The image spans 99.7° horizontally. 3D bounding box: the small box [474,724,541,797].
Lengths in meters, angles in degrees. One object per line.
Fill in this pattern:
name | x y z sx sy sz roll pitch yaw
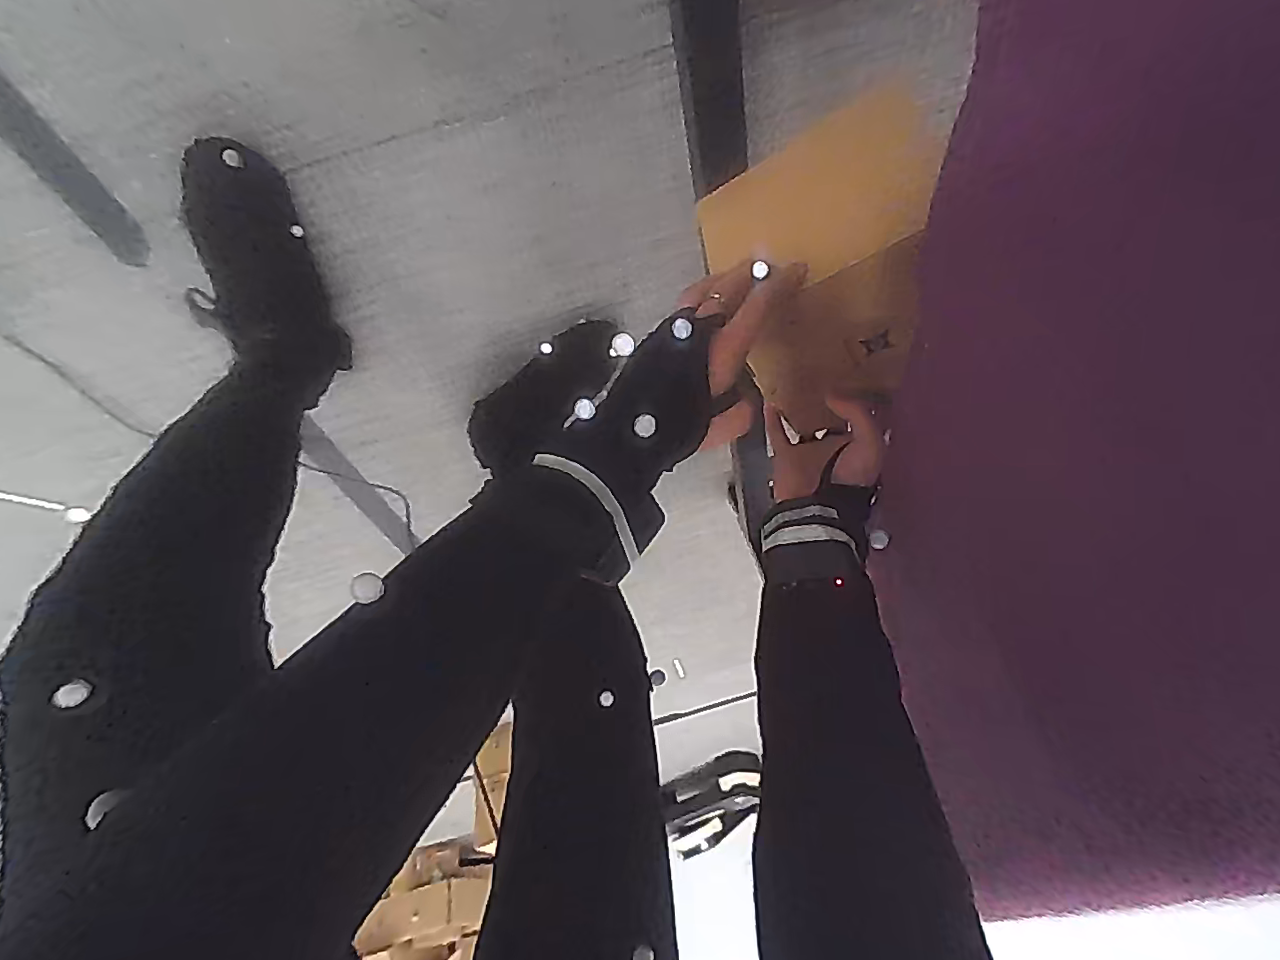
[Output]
small box | -0.447 0.955 1.841 0.168 0.176 0.179 -19 137 4
